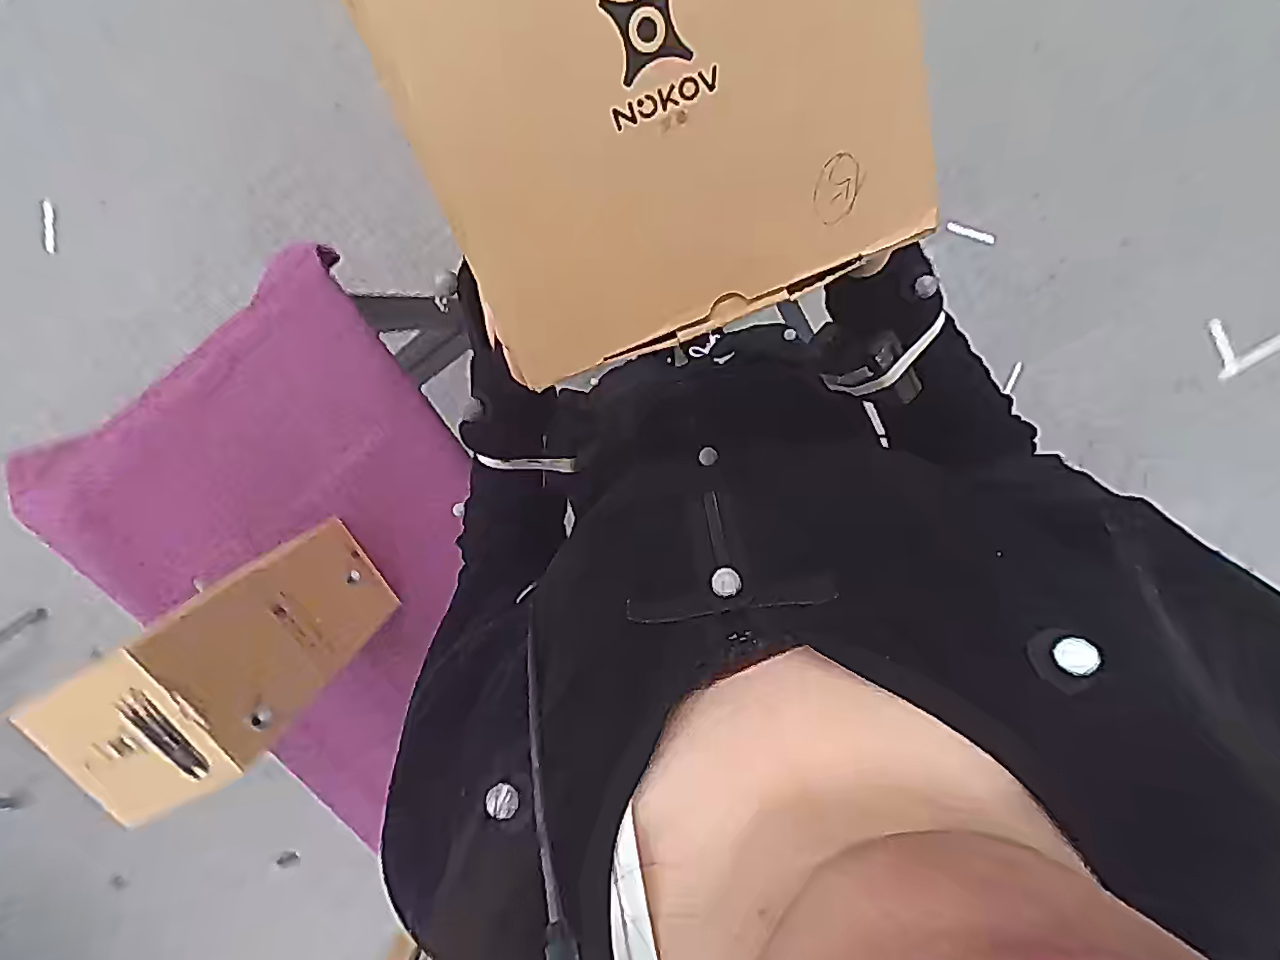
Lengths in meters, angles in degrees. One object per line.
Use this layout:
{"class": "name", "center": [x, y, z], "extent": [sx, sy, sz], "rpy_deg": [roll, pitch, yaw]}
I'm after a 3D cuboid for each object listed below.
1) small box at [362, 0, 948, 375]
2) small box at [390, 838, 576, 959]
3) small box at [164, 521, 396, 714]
{"class": "small box", "center": [0.000, -0.172, 0.238], "extent": [0.168, 0.176, 0.179], "rpy_deg": [-21, 114, 4]}
{"class": "small box", "center": [-0.208, 0.632, 0.723], "extent": [0.179, 0.176, 0.168], "rpy_deg": [-32, 104, 13]}
{"class": "small box", "center": [-0.489, 0.186, 0.765], "extent": [0.179, 0.176, 0.168], "rpy_deg": [-27, 105, 11]}
